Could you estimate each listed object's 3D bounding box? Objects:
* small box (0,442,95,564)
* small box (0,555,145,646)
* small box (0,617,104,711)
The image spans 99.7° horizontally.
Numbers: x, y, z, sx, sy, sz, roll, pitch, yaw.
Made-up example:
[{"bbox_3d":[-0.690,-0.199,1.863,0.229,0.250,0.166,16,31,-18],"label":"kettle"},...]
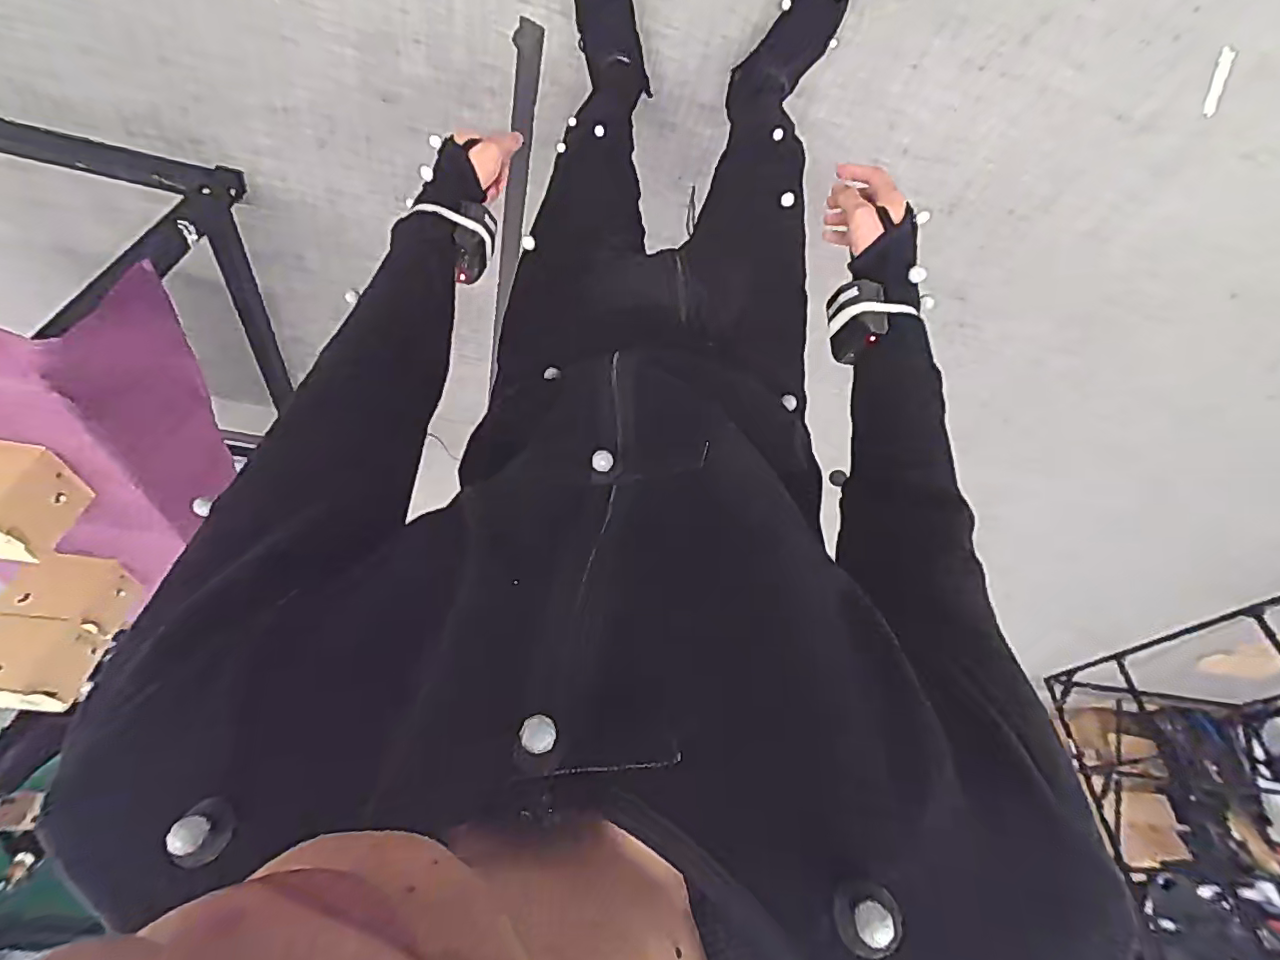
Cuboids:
[{"bbox_3d":[-1.218,0.037,1.024,0.179,0.176,0.168,9,142,-9],"label":"small box"},{"bbox_3d":[-1.448,0.307,1.389,0.179,0.176,0.168,10,143,-11],"label":"small box"},{"bbox_3d":[-1.453,0.439,1.292,0.179,0.176,0.168,8,142,-7],"label":"small box"}]
